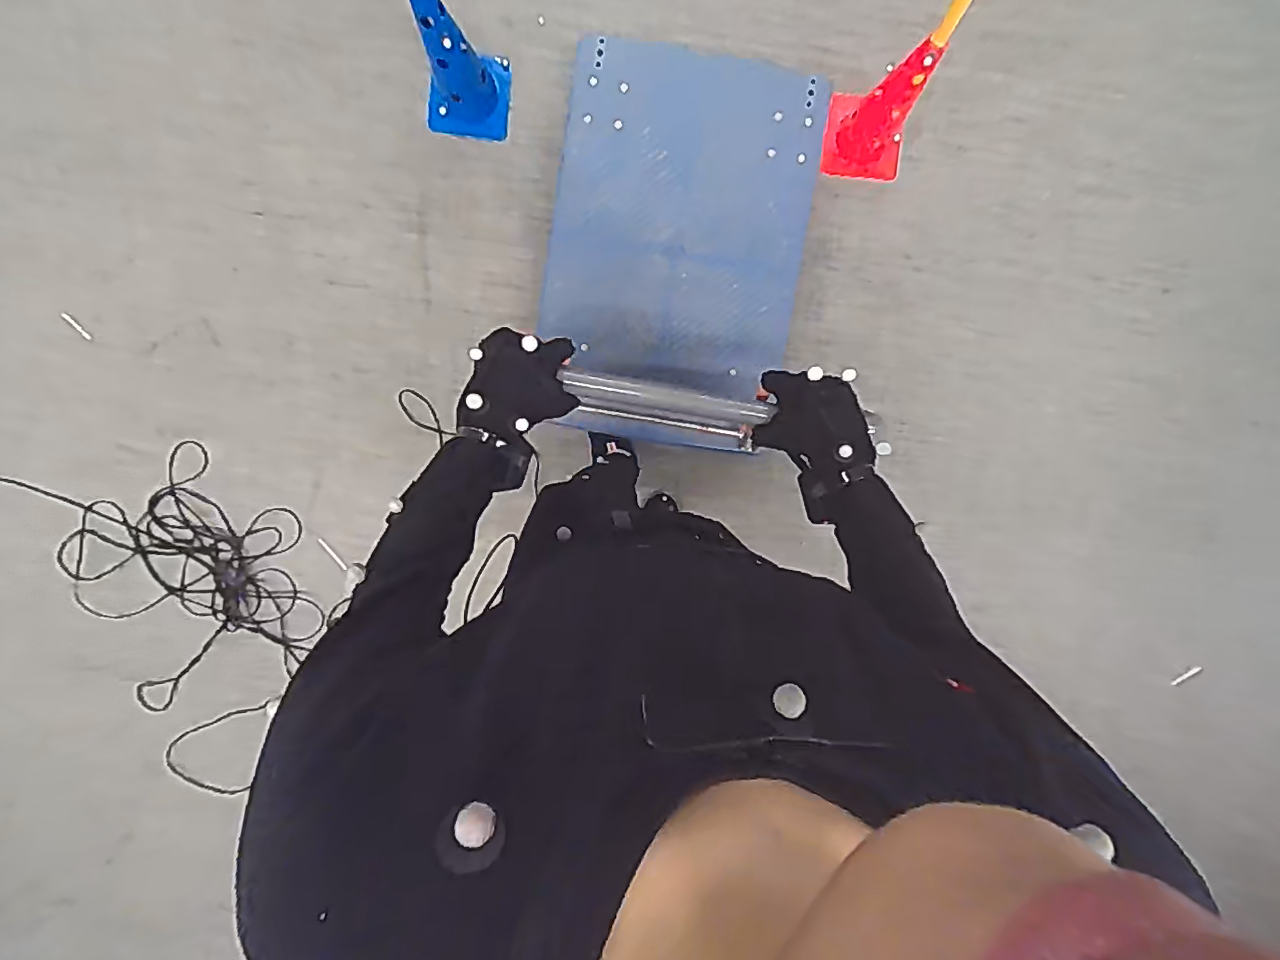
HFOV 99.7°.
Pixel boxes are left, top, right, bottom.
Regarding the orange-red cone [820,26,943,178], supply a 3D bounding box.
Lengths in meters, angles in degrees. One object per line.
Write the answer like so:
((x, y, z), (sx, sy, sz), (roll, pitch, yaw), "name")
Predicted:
((0.572, -0.877, 1.228), (0.199, 0.360, 0.198), (6, 94, 0), "orange-red cone")
